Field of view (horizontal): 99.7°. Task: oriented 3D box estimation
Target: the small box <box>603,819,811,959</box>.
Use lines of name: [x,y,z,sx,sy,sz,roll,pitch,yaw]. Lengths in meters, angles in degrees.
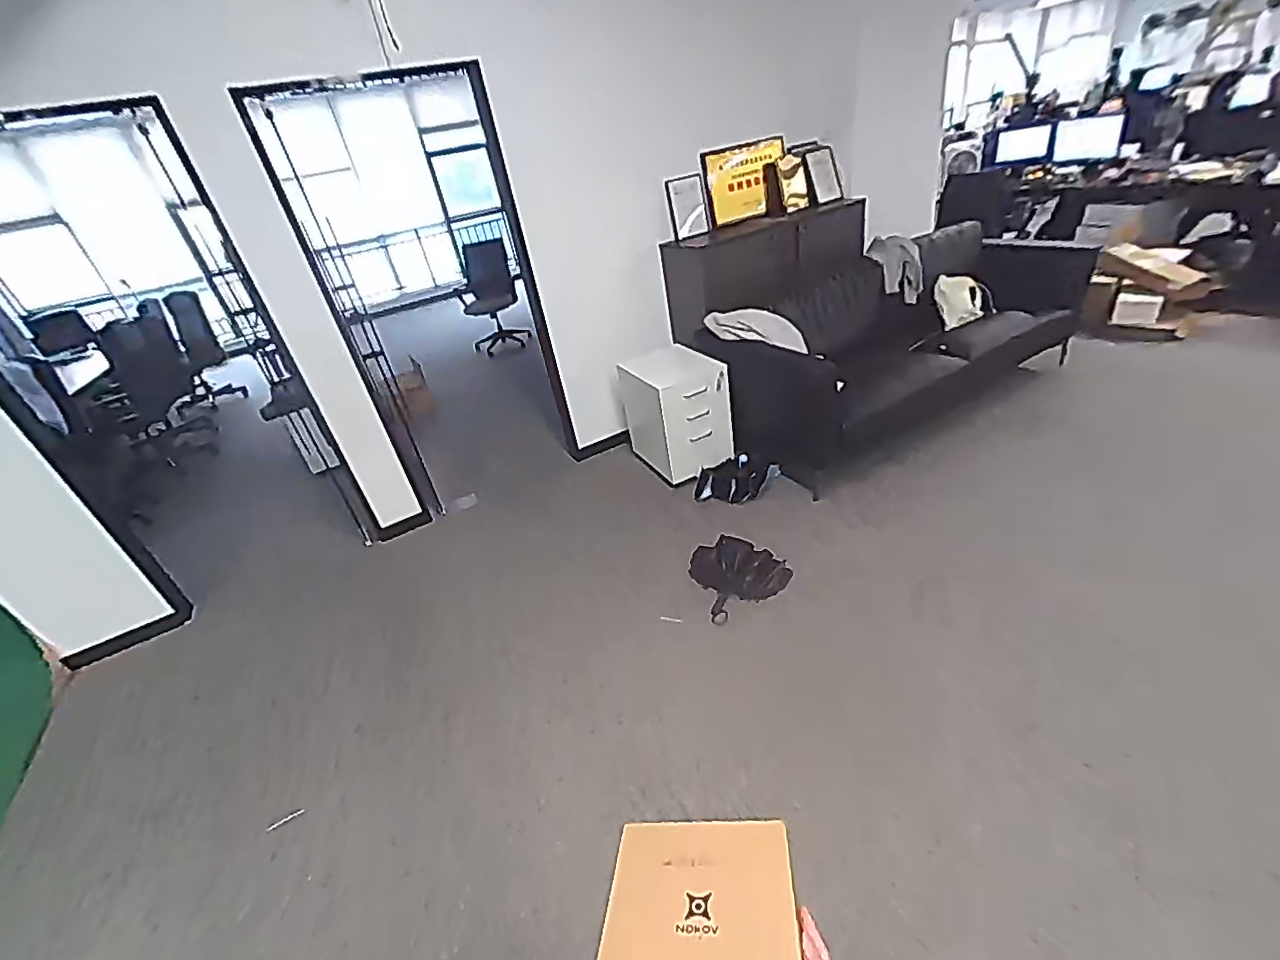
small box: [0.070,0.446,0.485,0.168,0.176,0.179,-7,14,11]
